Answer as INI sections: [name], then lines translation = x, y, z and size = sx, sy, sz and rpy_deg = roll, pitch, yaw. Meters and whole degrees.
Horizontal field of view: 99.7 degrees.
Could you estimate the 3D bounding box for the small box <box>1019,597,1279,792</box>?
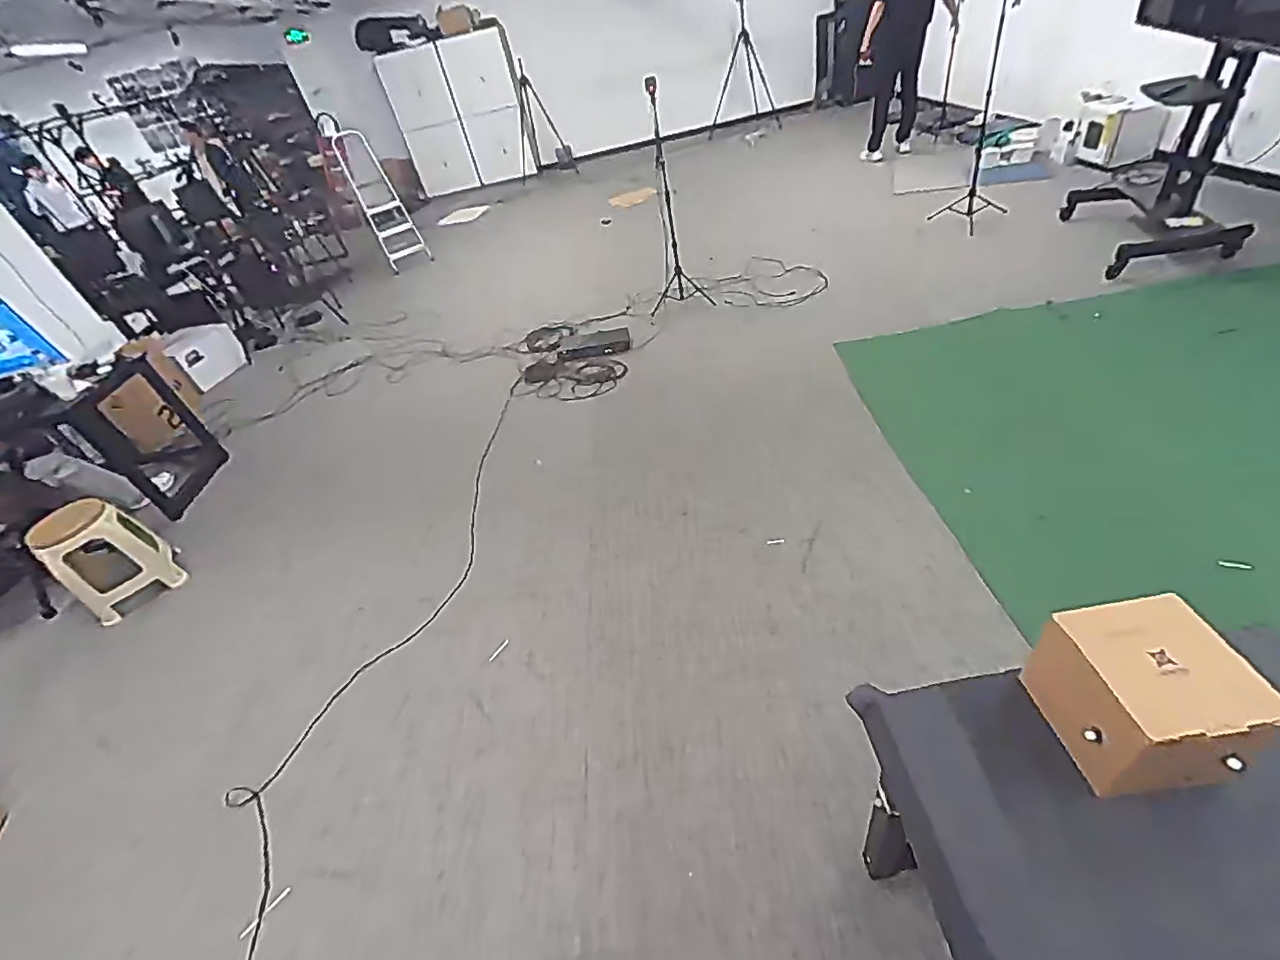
[small box]
translation = 0.653, 0.287, 0.714
size = 0.168, 0.176, 0.179
rpy_deg = -10, 38, 0
